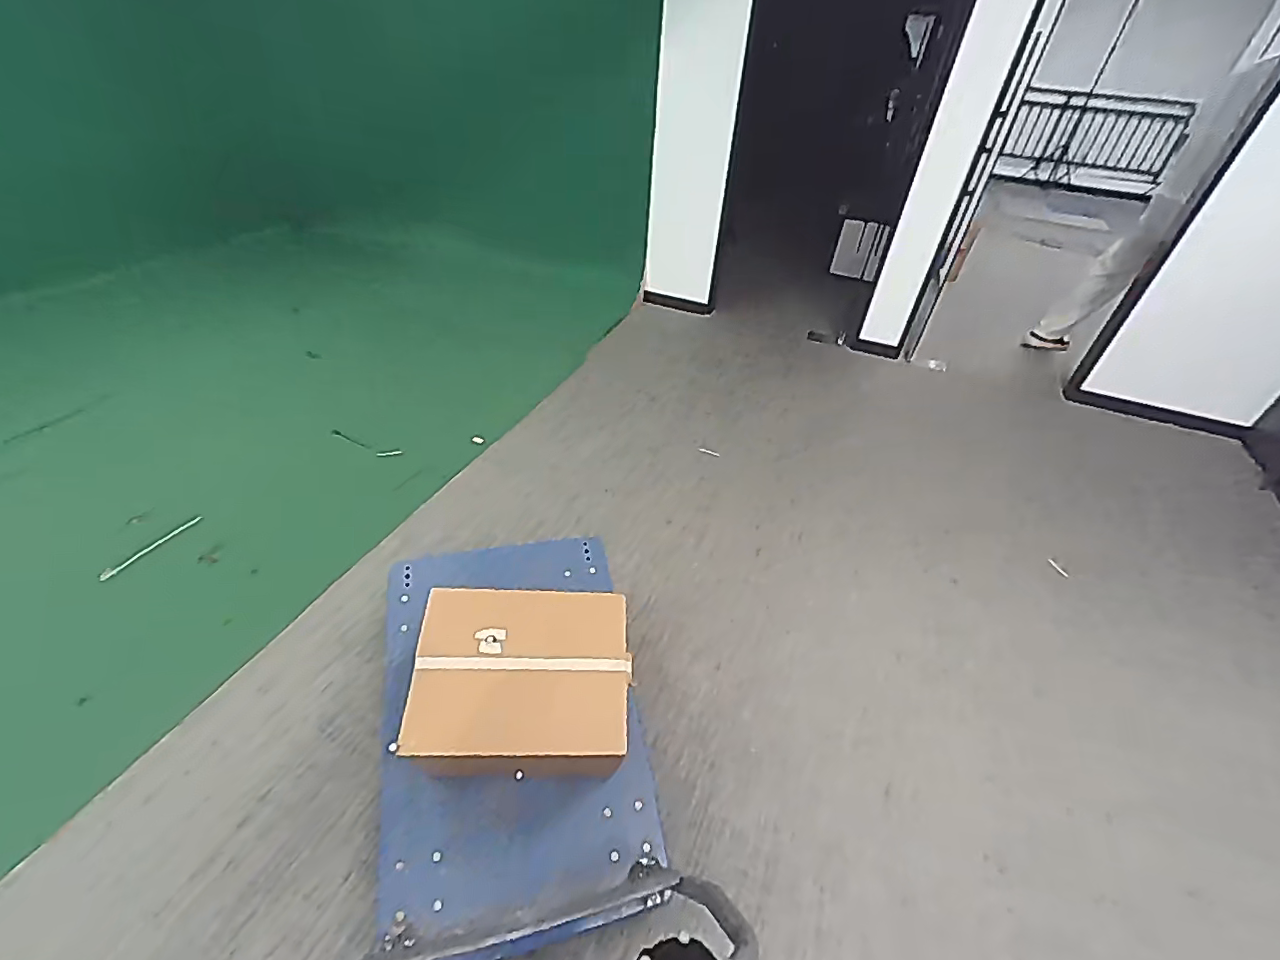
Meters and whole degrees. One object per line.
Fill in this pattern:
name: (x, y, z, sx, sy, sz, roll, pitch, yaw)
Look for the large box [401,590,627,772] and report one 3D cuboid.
large box: (-0.239, 0.442, 1.168, 0.408, 0.320, 0.320, 3, 55, -6)
